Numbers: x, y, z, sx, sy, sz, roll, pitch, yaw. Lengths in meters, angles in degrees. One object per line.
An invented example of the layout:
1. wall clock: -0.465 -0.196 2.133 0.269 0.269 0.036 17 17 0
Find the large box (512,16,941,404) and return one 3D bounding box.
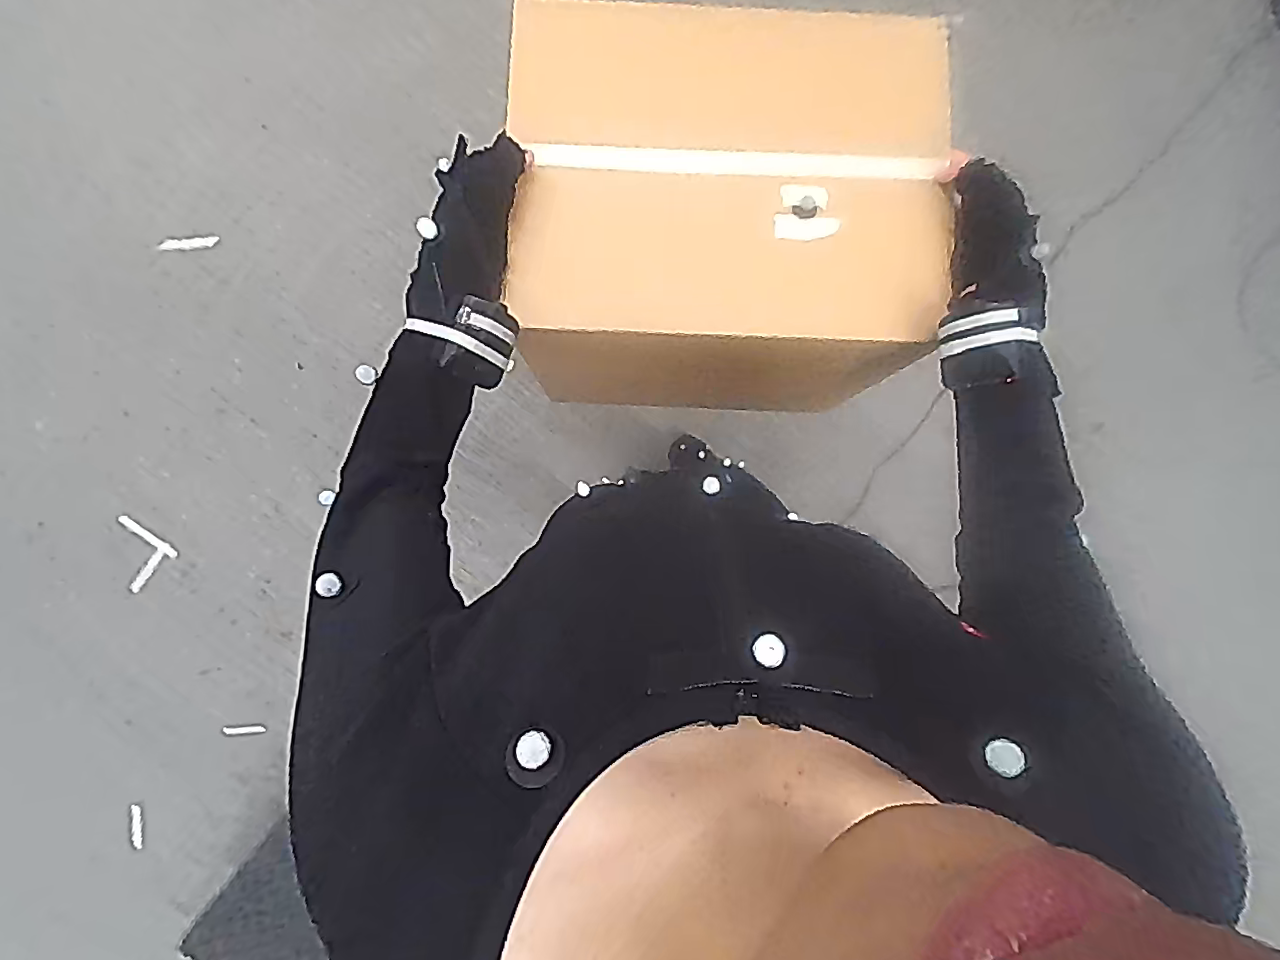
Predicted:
1. large box: 0.076 -0.278 0.656 0.408 0.320 0.320 1 85 -1
